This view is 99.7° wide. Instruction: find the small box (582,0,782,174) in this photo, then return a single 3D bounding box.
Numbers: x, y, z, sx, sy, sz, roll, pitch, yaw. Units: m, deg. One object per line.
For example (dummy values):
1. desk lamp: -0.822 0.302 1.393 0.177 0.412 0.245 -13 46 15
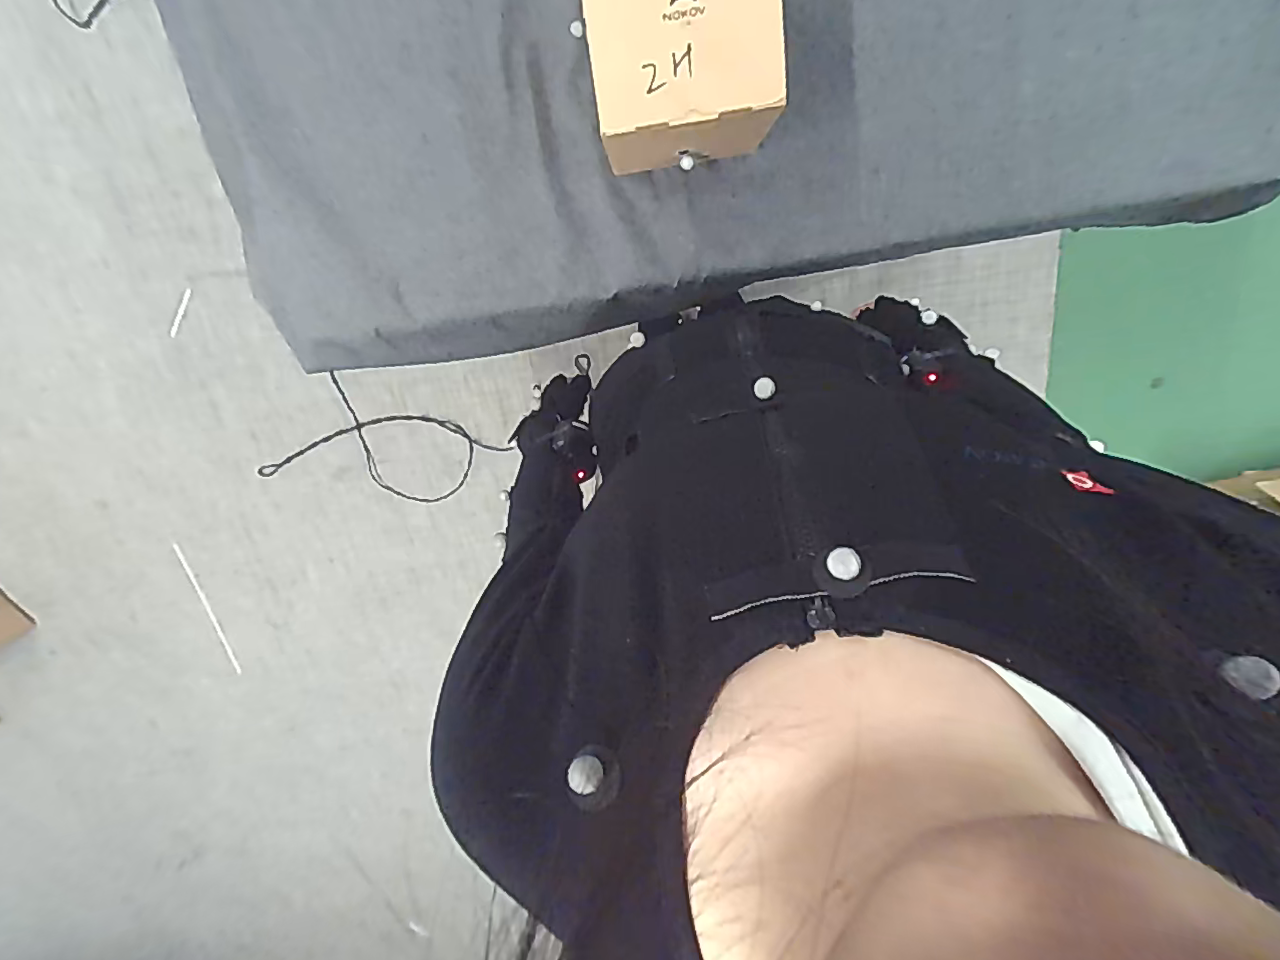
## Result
1. small box: 0.034 -0.421 0.524 0.168 0.176 0.179 -7 109 5
